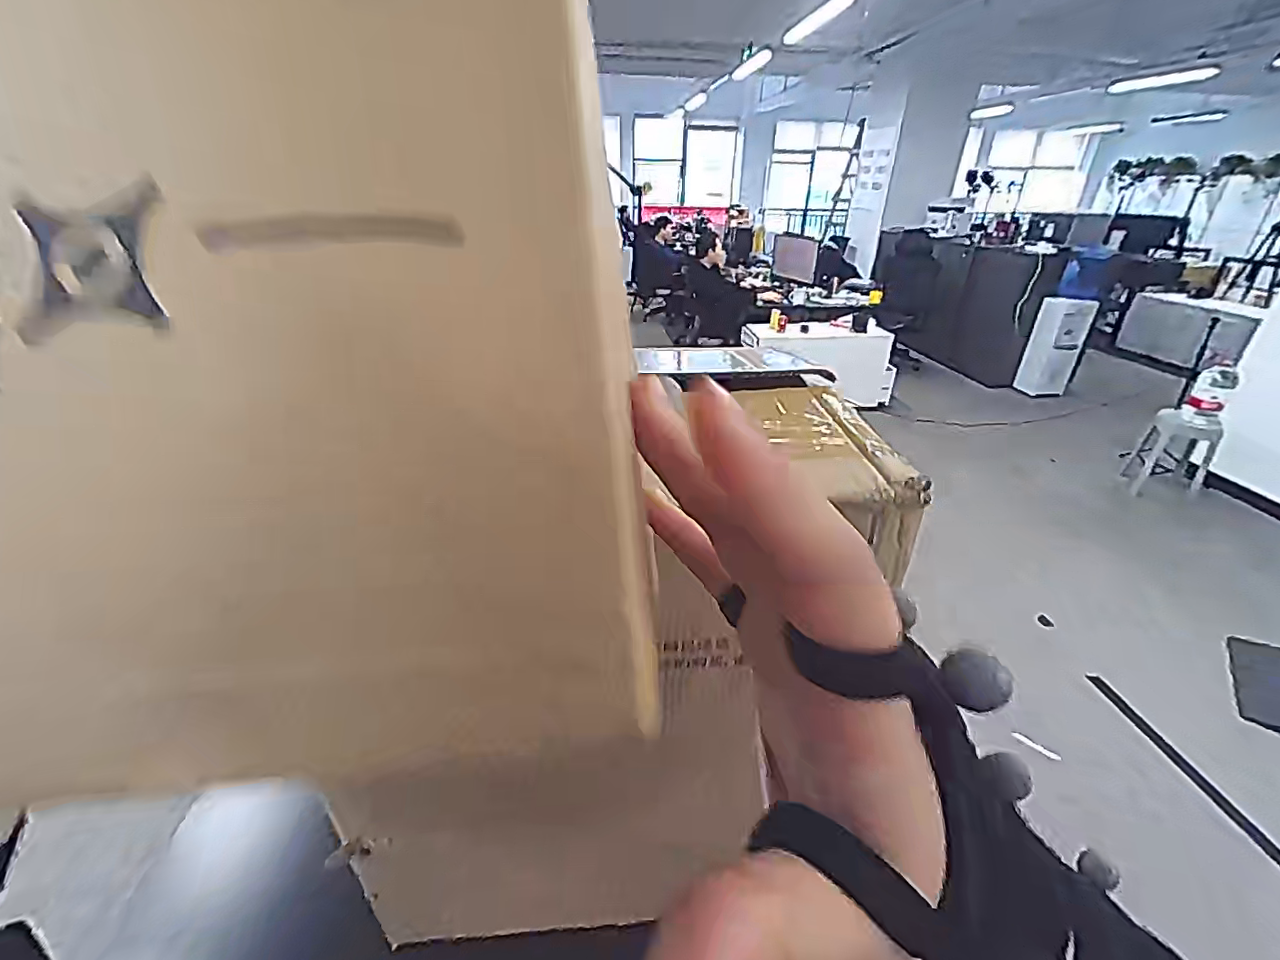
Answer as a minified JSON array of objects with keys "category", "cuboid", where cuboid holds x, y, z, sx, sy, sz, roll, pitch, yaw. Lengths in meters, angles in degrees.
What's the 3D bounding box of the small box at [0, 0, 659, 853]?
[{"category":"small box","cuboid":[-0.088,-0.022,0.166,0.179,0.168,0.176,-6,-3,1]}]
